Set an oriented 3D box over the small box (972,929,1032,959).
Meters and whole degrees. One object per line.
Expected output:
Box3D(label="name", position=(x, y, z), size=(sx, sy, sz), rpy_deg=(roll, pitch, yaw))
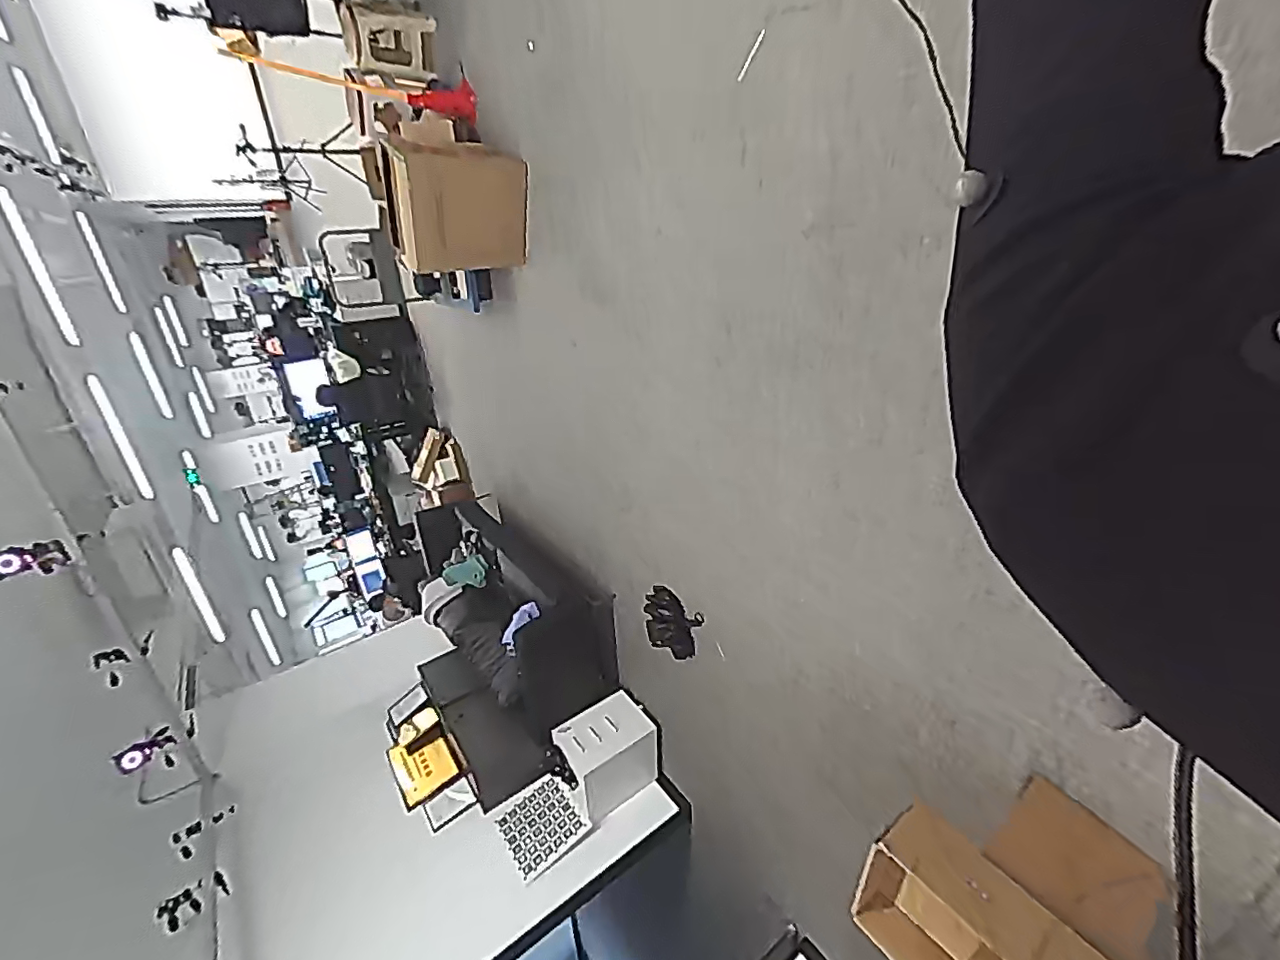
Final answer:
Box3D(label="small box", position=(0.864, 1.224, 1.274), size=(0.168, 0.176, 0.179), rpy_deg=(33, 135, 48))
